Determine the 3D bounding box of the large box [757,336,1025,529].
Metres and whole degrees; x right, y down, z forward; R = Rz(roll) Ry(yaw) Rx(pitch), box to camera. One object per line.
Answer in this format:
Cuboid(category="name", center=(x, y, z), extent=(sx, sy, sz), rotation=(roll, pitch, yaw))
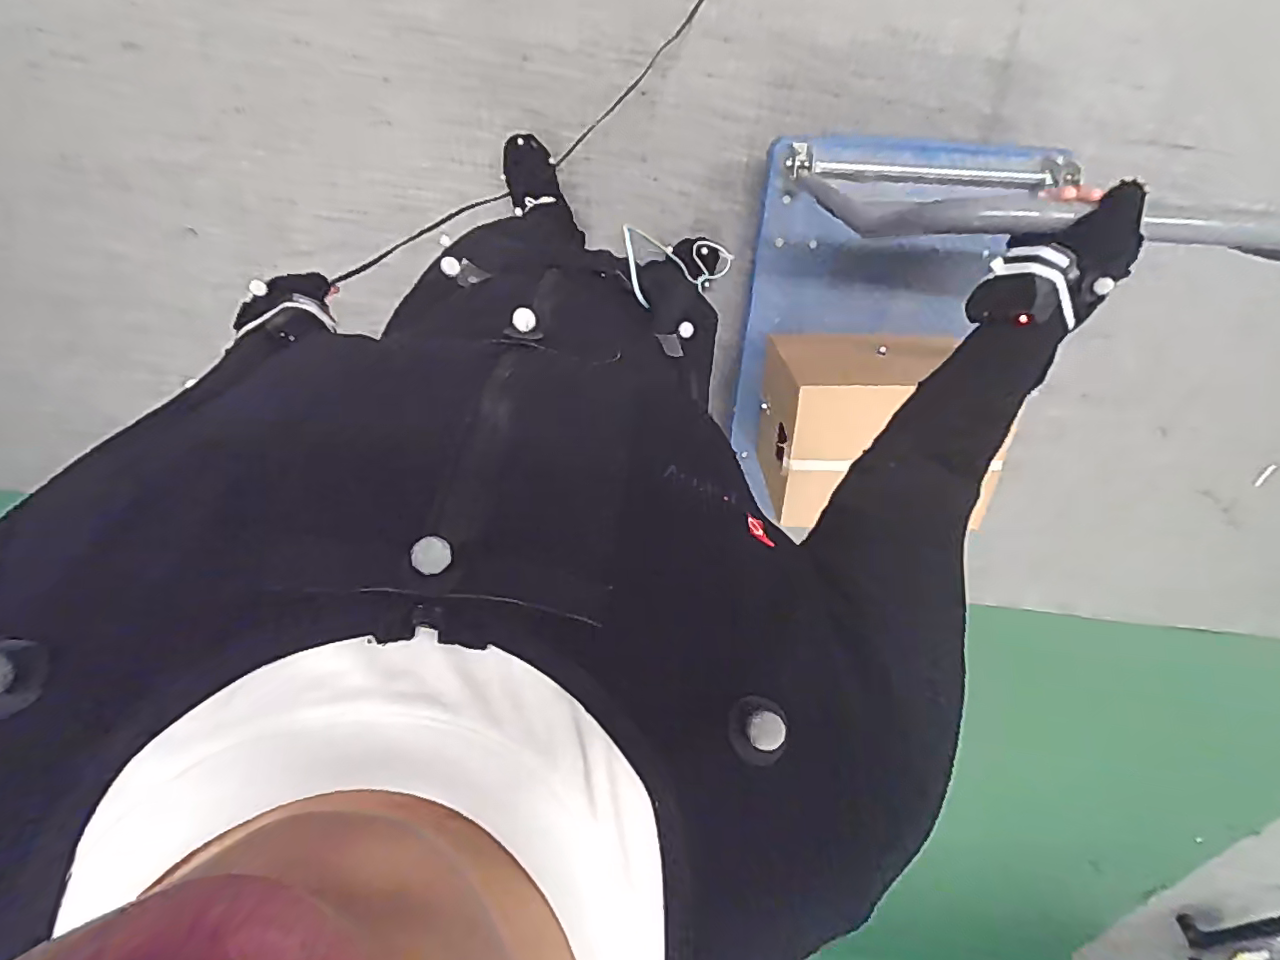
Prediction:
Cuboid(category="large box", center=(0.482, -0.111, 1.153), extent=(0.408, 0.320, 0.320), rotation=(-1, 122, 1))
